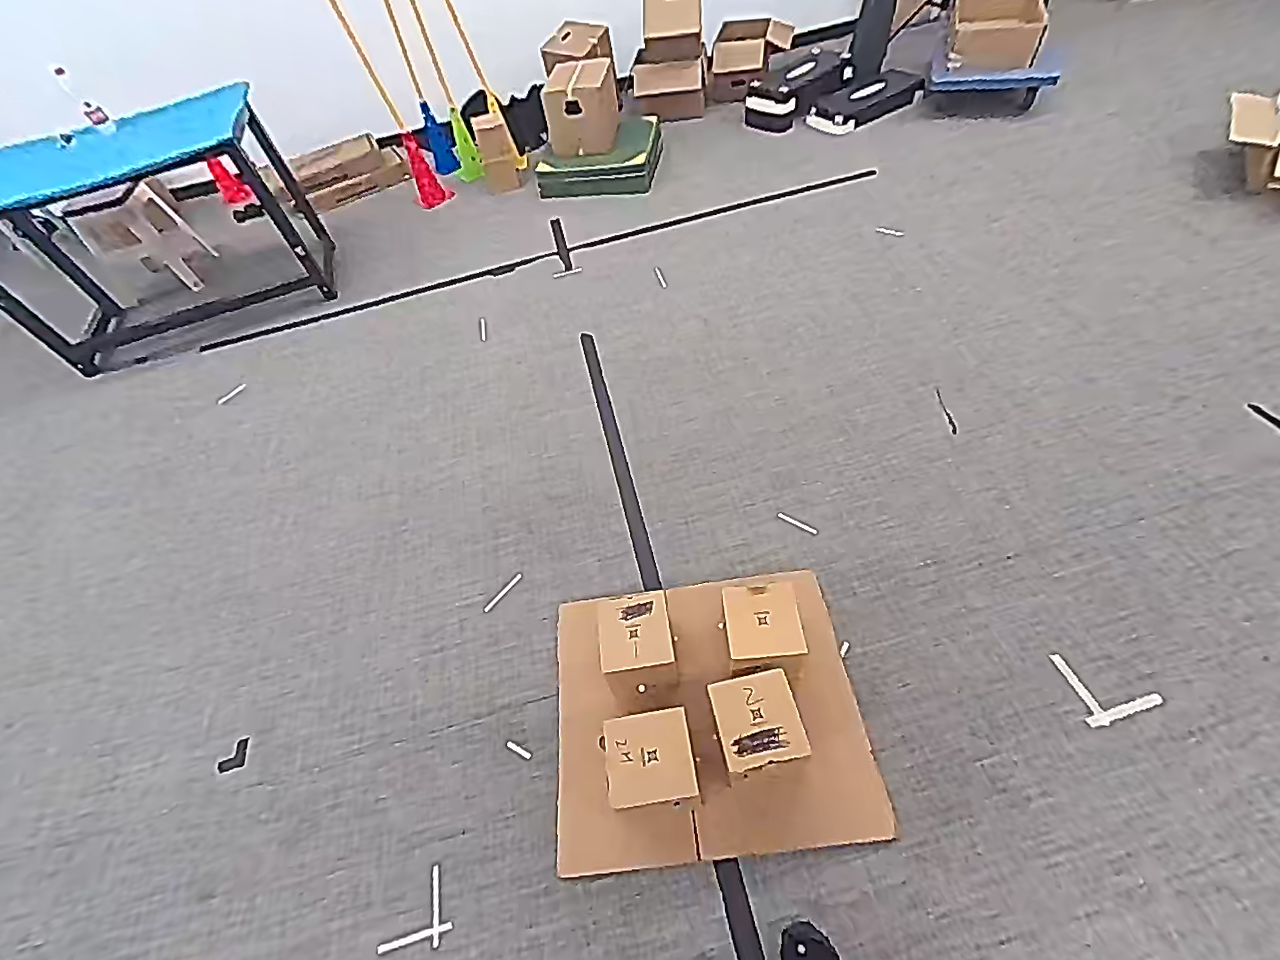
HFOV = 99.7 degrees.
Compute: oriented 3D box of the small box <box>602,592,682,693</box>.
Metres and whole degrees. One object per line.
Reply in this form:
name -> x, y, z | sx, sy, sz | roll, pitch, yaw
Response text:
small box -> 0.005, 0.395, 1.310 | 0.168, 0.176, 0.179 | -10, 53, 2
